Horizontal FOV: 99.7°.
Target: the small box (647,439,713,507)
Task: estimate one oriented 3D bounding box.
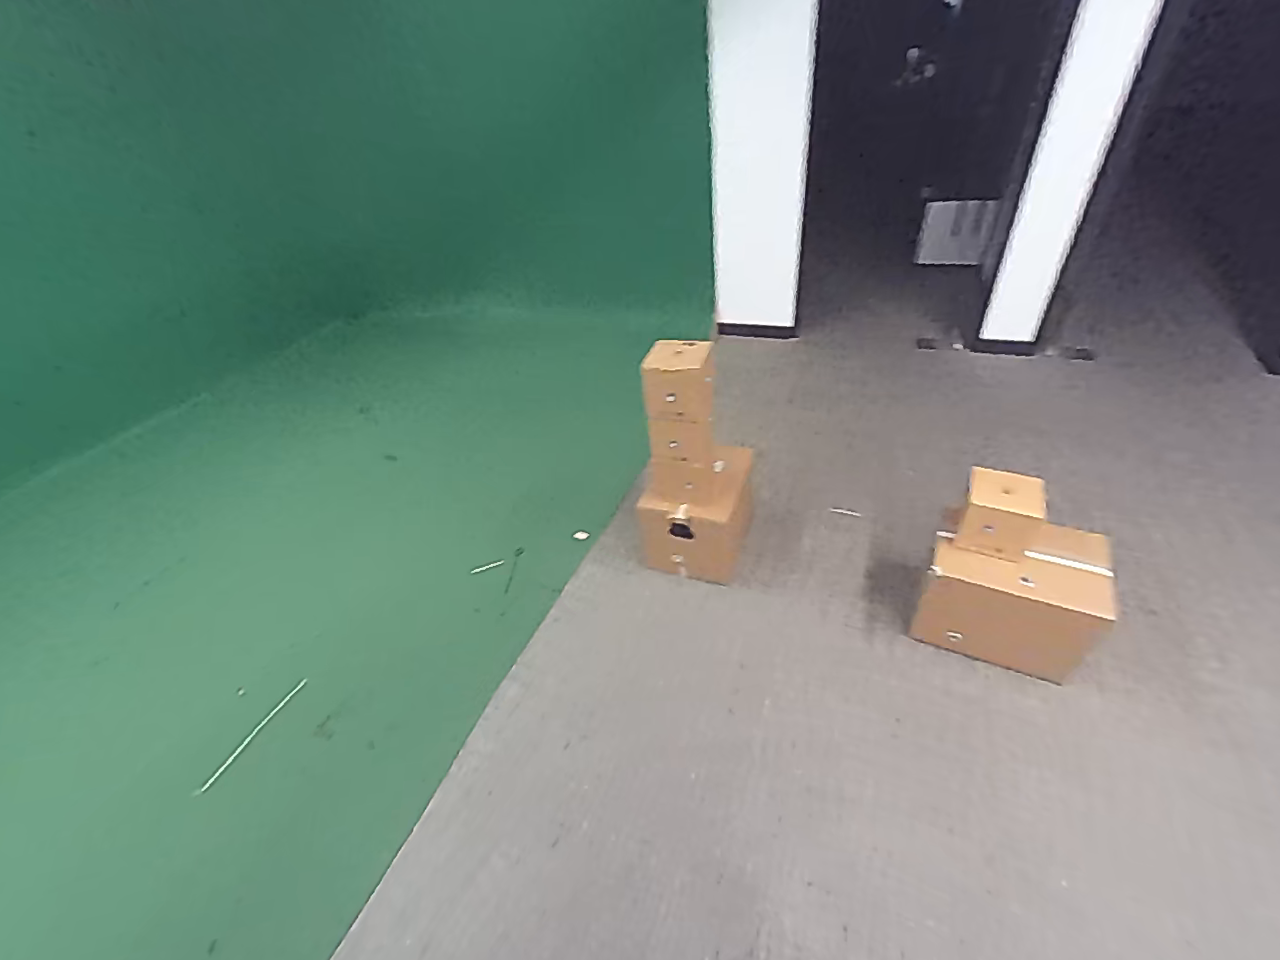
[{"bbox_3d":[0.140,-0.030,1.783,0.179,0.176,0.168,8,41,20],"label":"small box"}]

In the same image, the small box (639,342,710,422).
[{"bbox_3d":[0.109,-0.287,1.580,0.168,0.176,0.179,7,42,18],"label":"small box"}]

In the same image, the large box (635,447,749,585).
[{"bbox_3d":[0.207,0.116,1.980,0.320,0.320,0.408,10,41,20],"label":"large box"}]

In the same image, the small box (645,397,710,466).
[{"bbox_3d":[0.125,-0.161,1.685,0.168,0.176,0.179,6,40,16],"label":"small box"}]

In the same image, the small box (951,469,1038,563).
[{"bbox_3d":[0.971,0.099,1.486,0.168,0.176,0.179,15,42,25],"label":"small box"}]
